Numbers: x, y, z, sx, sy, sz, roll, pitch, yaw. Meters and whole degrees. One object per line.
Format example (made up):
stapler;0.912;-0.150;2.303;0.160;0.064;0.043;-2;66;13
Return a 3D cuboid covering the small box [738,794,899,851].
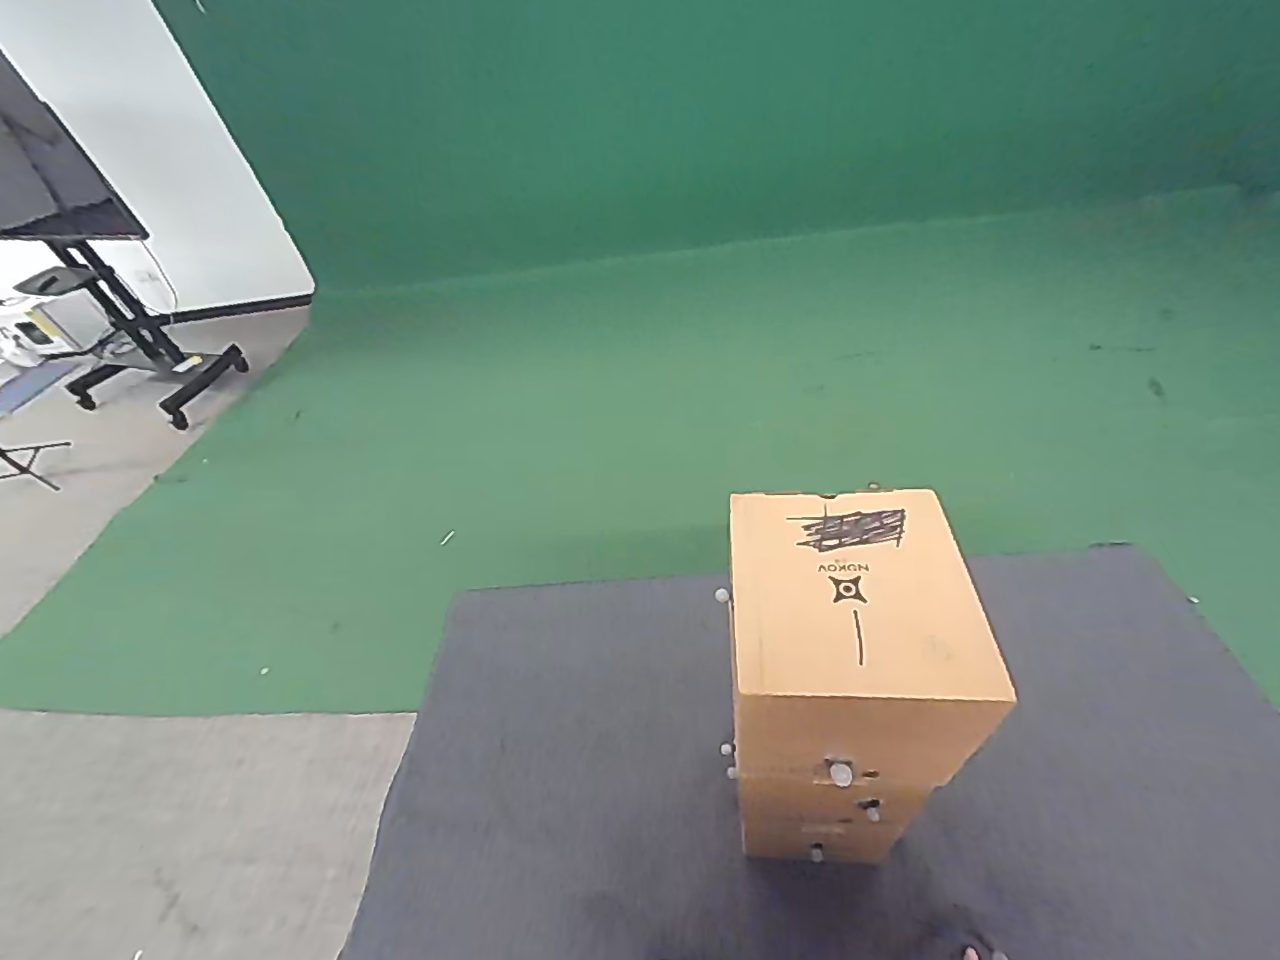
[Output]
small box;0.207;0.348;0.680;0.168;0.176;0.179;-3;46;9

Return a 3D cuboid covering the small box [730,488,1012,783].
small box;0.158;0.126;0.445;0.168;0.176;0.179;-2;47;9

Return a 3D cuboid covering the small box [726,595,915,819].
small box;0.179;0.236;0.565;0.168;0.176;0.179;-3;45;8
